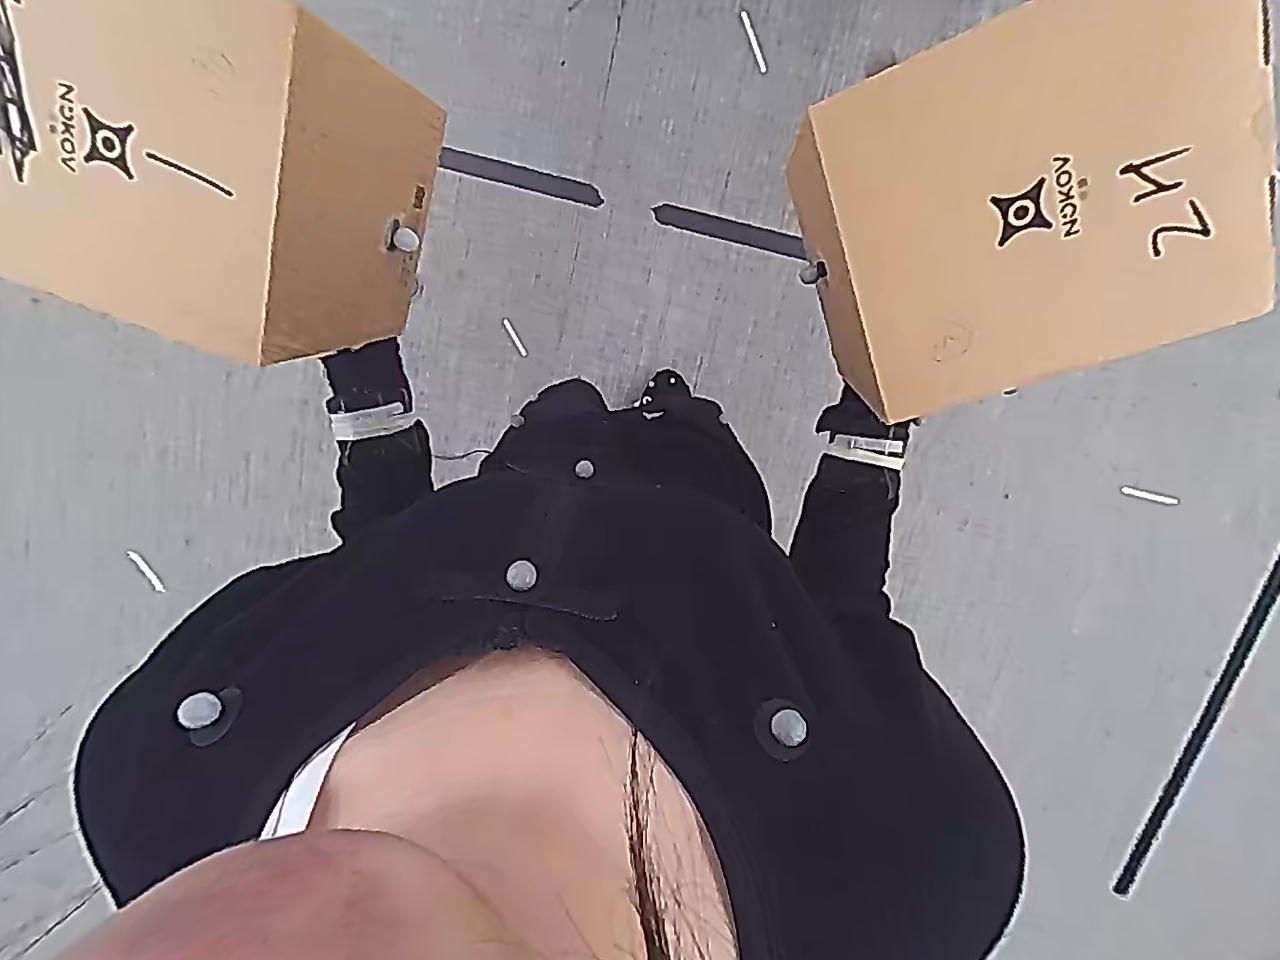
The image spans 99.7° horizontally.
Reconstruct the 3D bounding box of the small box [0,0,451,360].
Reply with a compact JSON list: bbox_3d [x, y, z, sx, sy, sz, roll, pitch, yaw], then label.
[{"bbox_3d":[-0.242,-0.189,0.324,0.179,0.176,0.168,20,111,-5],"label":"small box"}]

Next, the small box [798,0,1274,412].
[{"bbox_3d":[0.203,-0.159,0.329,0.179,0.176,0.168,-17,107,16],"label":"small box"}]
